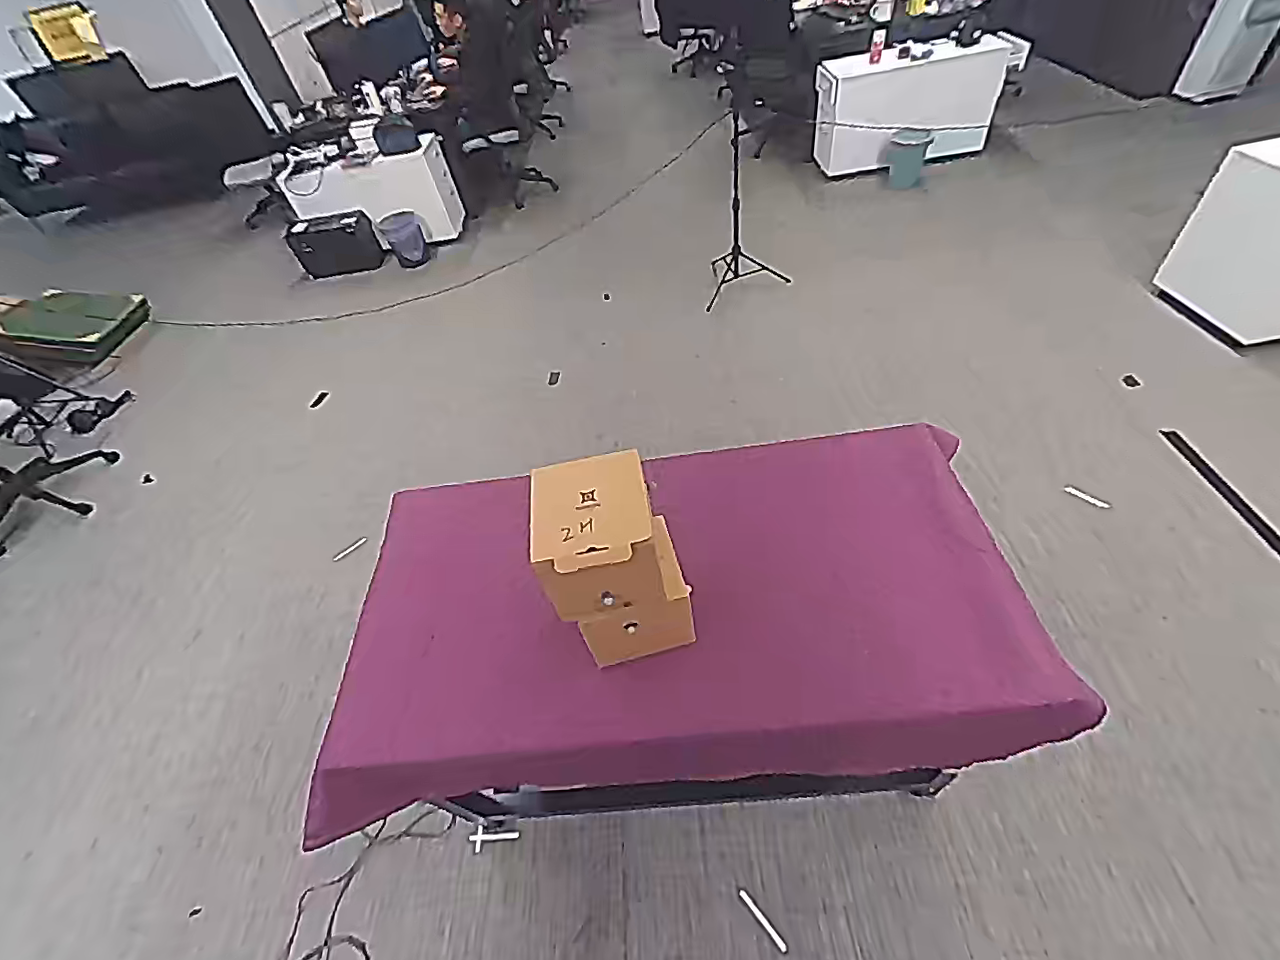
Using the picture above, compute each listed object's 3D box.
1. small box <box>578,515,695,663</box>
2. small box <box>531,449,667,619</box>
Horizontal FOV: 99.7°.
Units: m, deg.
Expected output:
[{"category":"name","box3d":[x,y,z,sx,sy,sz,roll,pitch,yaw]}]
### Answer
[{"category":"small box","box3d":[-0.014,0.192,0.929,0.179,0.176,0.168,-15,48,-3]},{"category":"small box","box3d":[-0.059,0.083,0.812,0.168,0.176,0.179,-12,48,2]}]
